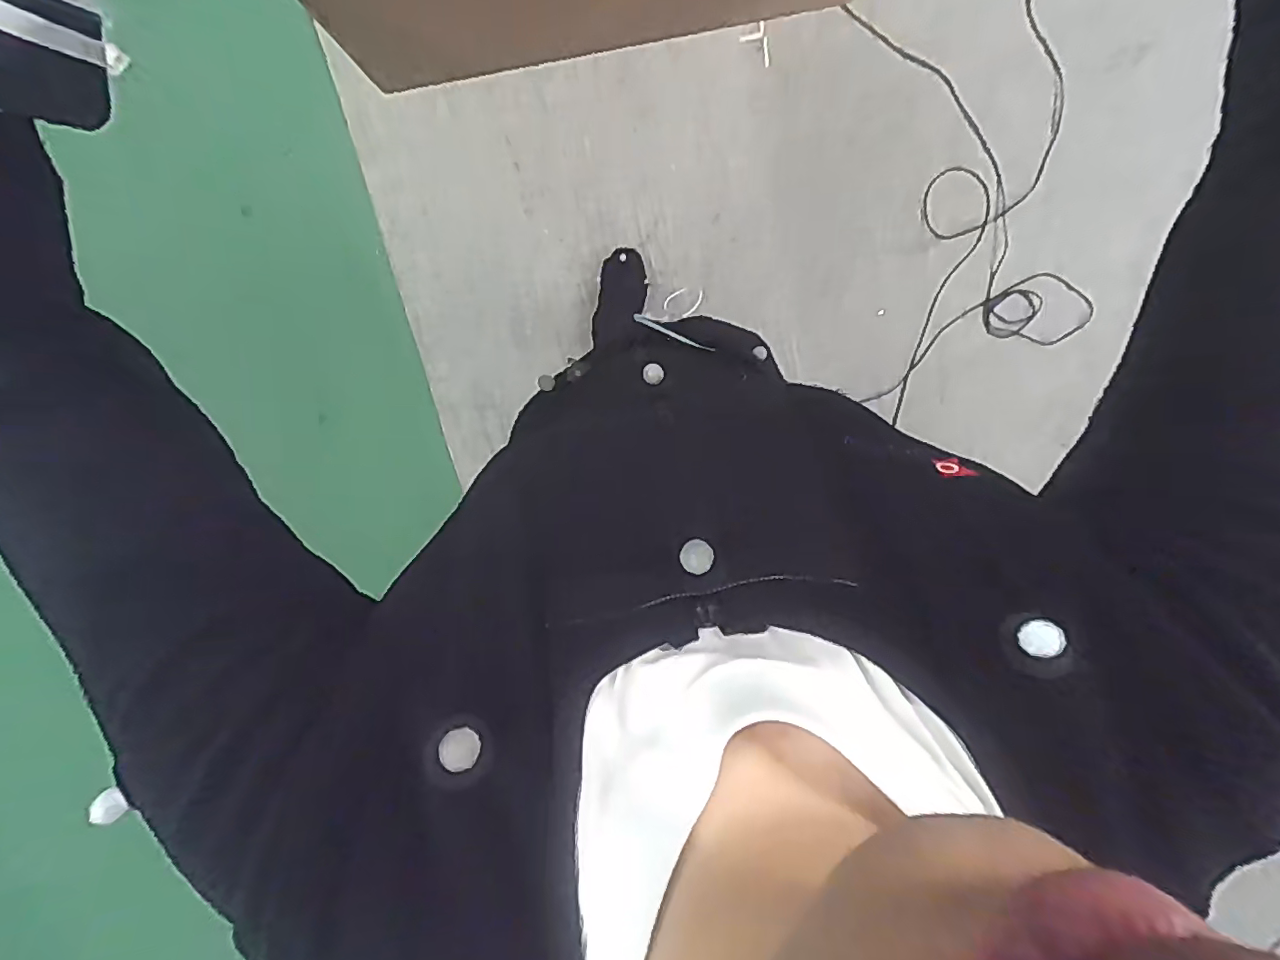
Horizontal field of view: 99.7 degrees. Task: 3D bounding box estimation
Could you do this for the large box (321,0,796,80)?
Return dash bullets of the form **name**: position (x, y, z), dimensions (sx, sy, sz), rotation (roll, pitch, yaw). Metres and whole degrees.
- **large box**: position (-0.035, -0.470, 0.266), dimensions (0.408, 0.320, 0.320), rotation (-13, 108, -4)
